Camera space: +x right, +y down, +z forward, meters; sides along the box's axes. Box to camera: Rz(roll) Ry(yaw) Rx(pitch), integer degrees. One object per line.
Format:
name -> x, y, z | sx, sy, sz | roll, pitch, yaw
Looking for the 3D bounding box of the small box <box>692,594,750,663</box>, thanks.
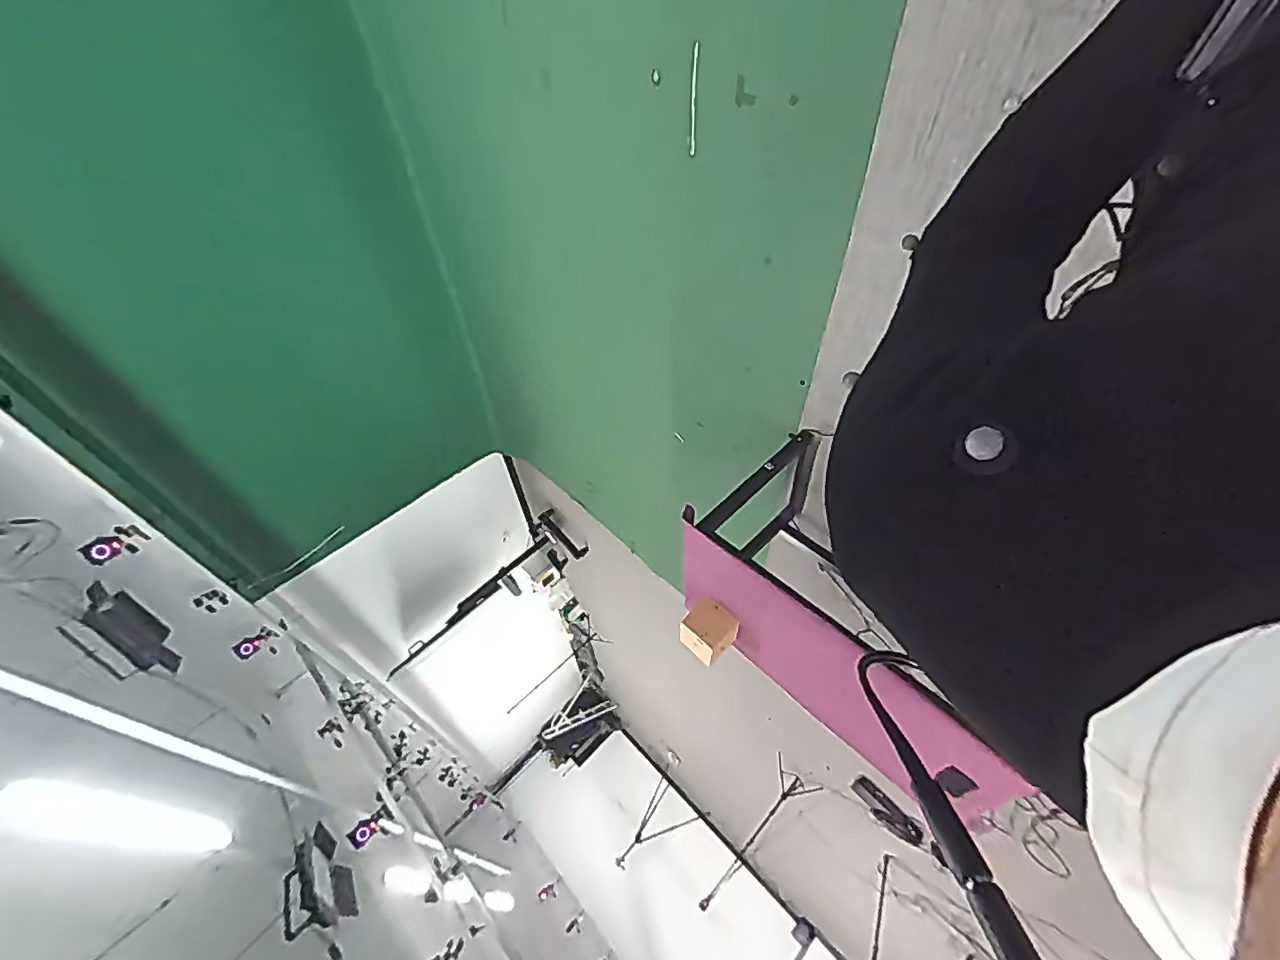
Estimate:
small box -> 0.324, 0.593, 2.164 | 0.168, 0.176, 0.179 | 36, 151, 29
